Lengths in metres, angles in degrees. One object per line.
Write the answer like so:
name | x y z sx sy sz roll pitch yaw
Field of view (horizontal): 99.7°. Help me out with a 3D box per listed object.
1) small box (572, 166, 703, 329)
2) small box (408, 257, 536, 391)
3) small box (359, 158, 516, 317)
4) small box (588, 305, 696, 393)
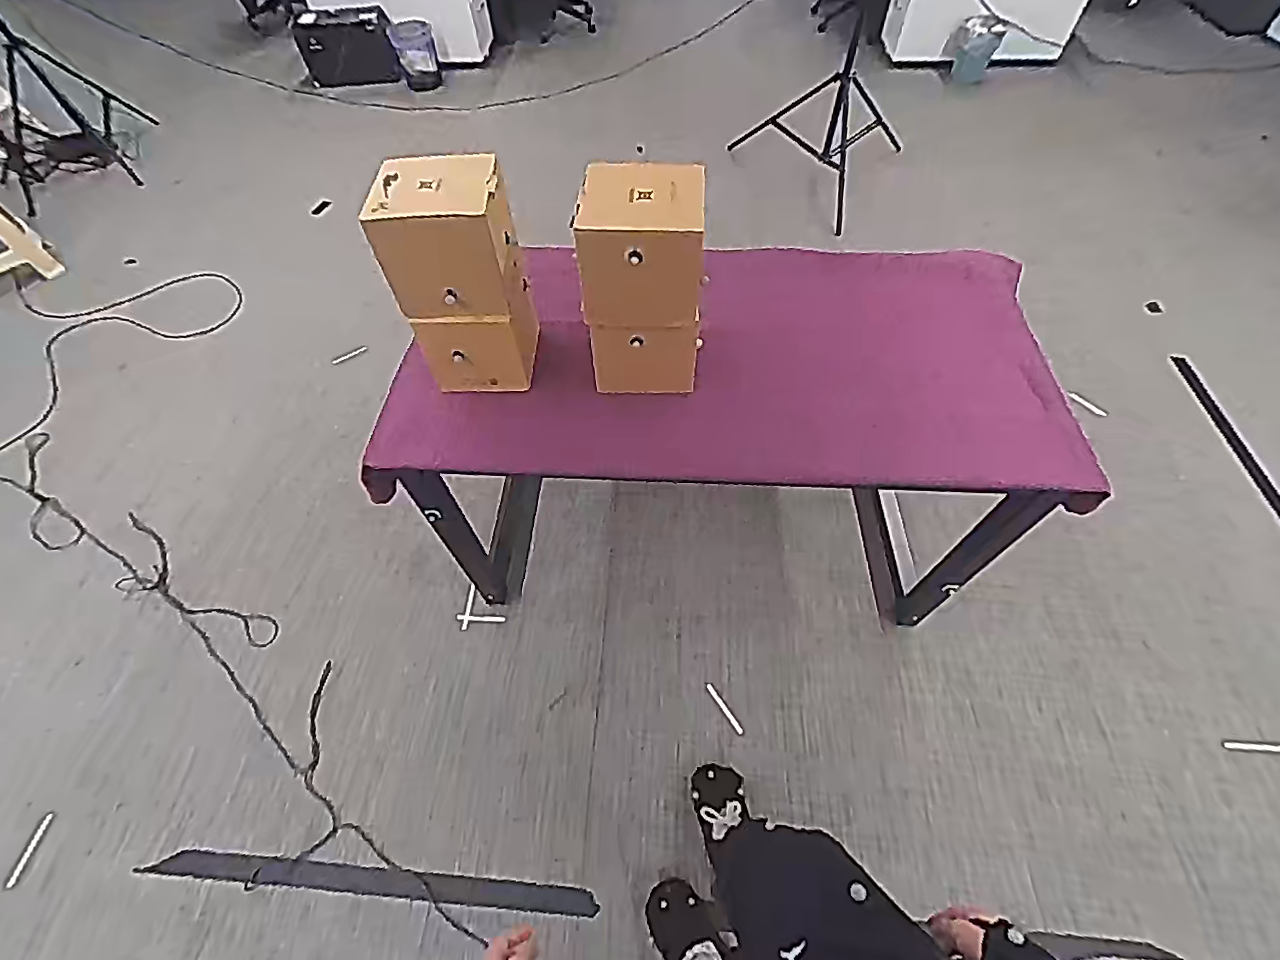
small box | 0.002 -0.348 0.820 0.179 0.176 0.168 3 58 2
small box | -0.288 -0.275 0.975 0.168 0.176 0.179 -1 56 1
small box | -0.297 -0.372 0.842 0.179 0.176 0.168 -2 56 -1
small box | 0.007 -0.270 0.962 0.179 0.176 0.168 1 57 1
